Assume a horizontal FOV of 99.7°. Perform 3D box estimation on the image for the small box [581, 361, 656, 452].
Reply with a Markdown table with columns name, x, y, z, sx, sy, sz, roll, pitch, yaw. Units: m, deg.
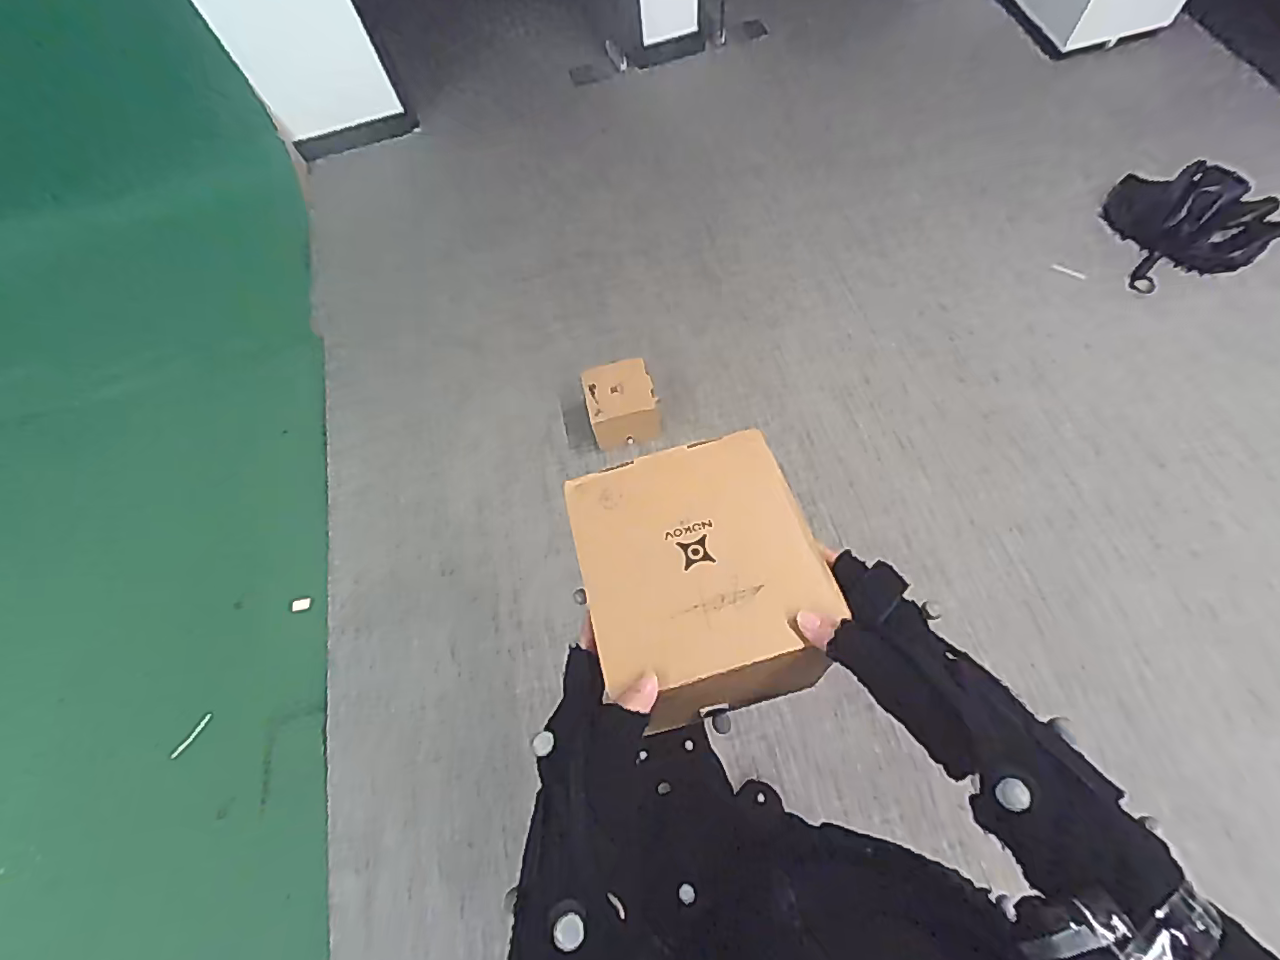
| name | x | y | z | sx | sy | sz | roll | pitch | yaw |
| --- | --- | --- | --- | --- | --- | --- | --- | --- | --- |
| small box | -0.053 | -0.199 | 1.498 | 0.179 | 0.176 | 0.168 | -13 | 66 | 0 |

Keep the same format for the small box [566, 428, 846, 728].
| name | x | y | z | sx | sy | sz | roll | pitch | yaw |
| --- | --- | --- | --- | --- | --- | --- | --- | --- | --- |
| small box | 0.045 | 0.089 | 0.461 | 0.168 | 0.176 | 0.179 | -16 | 57 | -2 |
